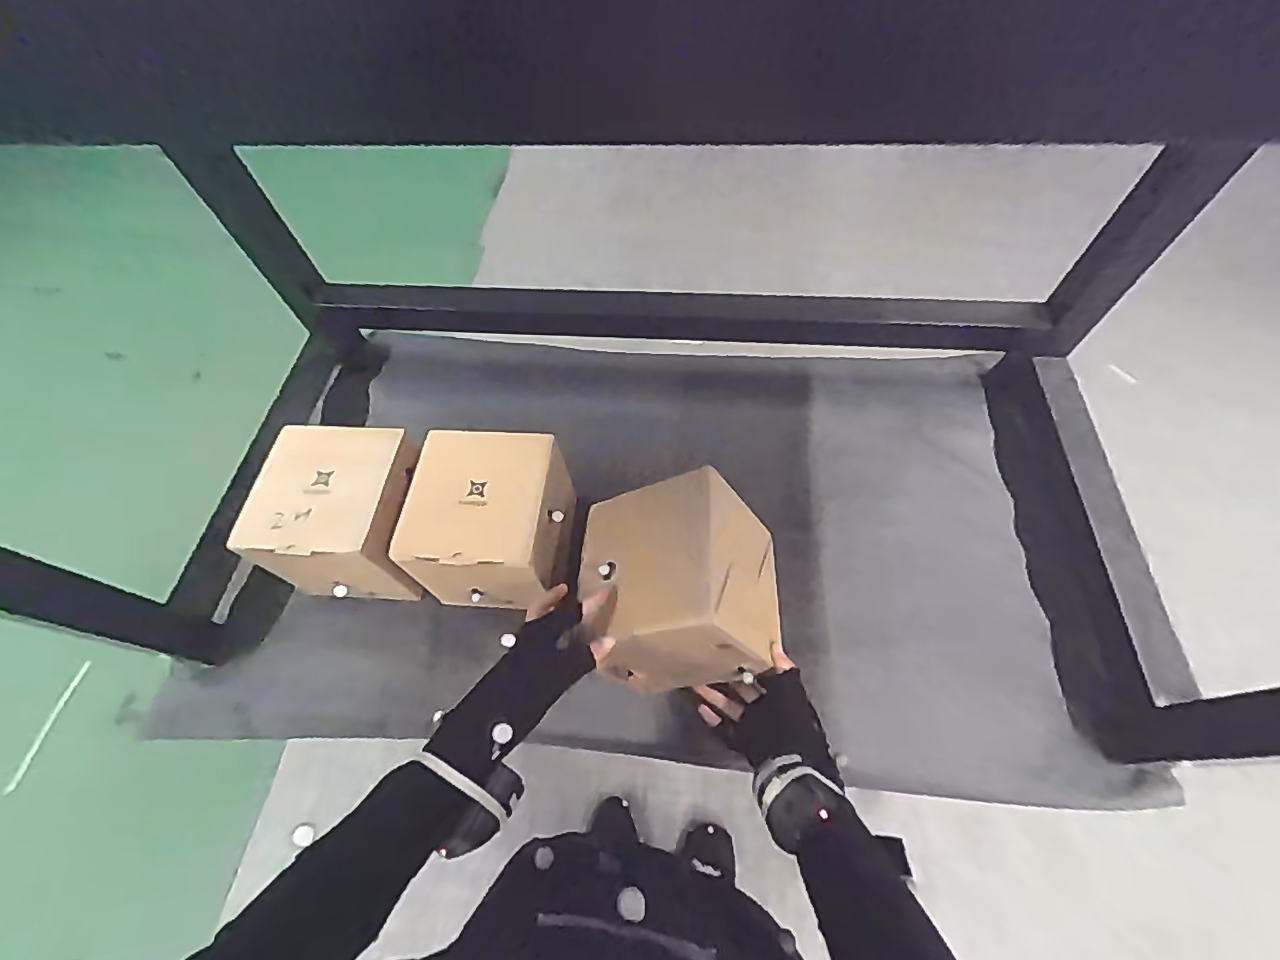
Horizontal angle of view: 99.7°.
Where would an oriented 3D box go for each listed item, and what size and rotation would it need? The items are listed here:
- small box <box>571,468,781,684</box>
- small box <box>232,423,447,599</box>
[{"bbox_3d":[0.049,0.112,0.609,0.176,0.168,0.179,-18,48,29],"label":"small box"},{"bbox_3d":[-0.378,0.044,0.723,0.168,0.176,0.179,2,60,6],"label":"small box"}]
